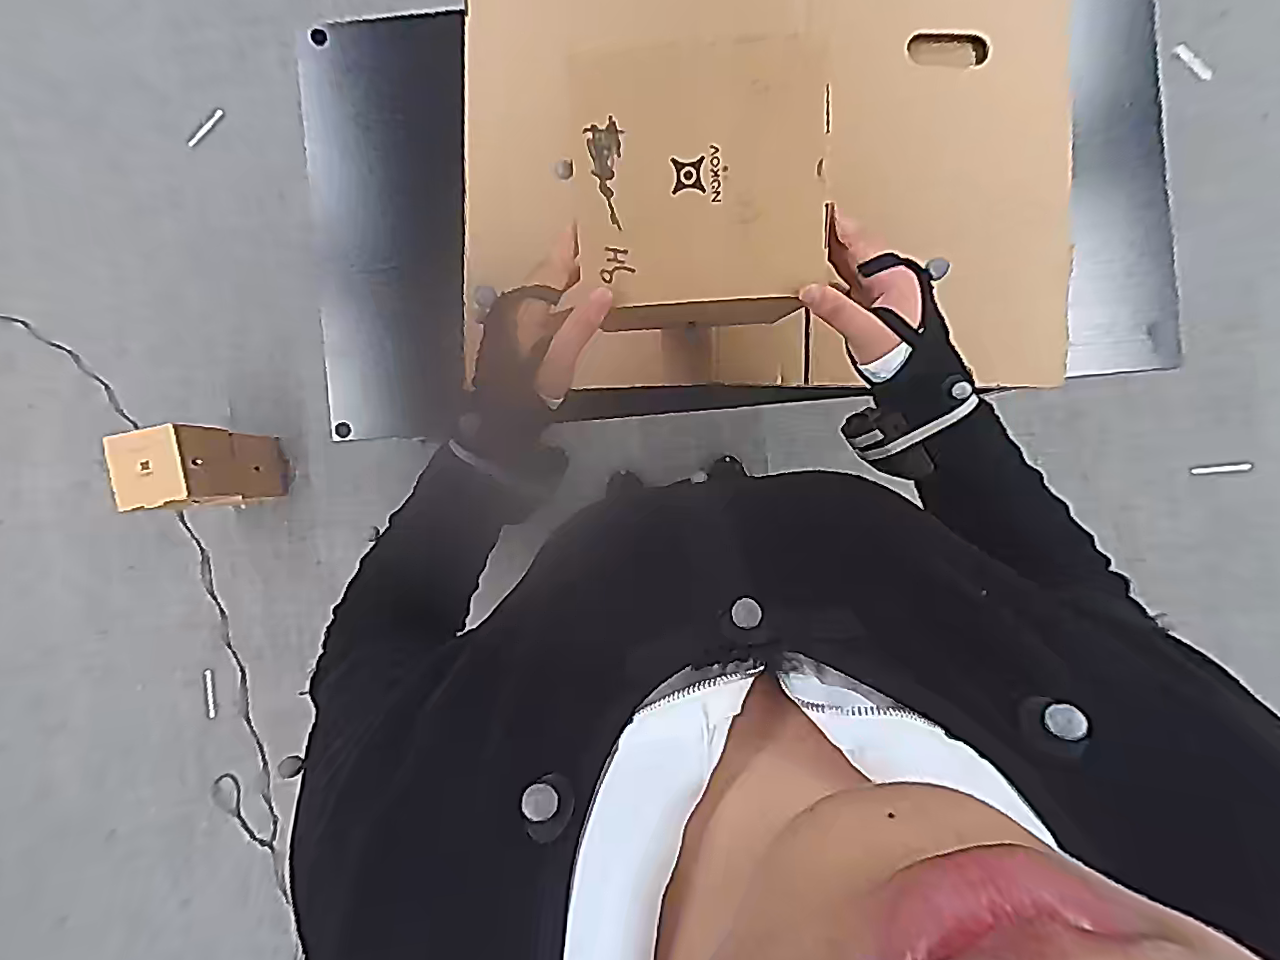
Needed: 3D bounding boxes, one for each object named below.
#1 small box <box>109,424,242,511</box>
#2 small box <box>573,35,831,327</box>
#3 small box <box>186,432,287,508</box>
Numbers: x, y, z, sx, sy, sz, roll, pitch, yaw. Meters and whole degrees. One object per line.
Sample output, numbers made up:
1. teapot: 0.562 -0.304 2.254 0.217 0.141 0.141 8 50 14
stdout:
1. small box: -1.102 -0.030 1.298 0.168 0.176 0.179 -12 90 1
2. small box: 0.043 -0.224 0.450 0.179 0.176 0.168 -3 98 0
3. small box: -1.096 -0.026 1.461 0.168 0.176 0.179 -9 91 2
